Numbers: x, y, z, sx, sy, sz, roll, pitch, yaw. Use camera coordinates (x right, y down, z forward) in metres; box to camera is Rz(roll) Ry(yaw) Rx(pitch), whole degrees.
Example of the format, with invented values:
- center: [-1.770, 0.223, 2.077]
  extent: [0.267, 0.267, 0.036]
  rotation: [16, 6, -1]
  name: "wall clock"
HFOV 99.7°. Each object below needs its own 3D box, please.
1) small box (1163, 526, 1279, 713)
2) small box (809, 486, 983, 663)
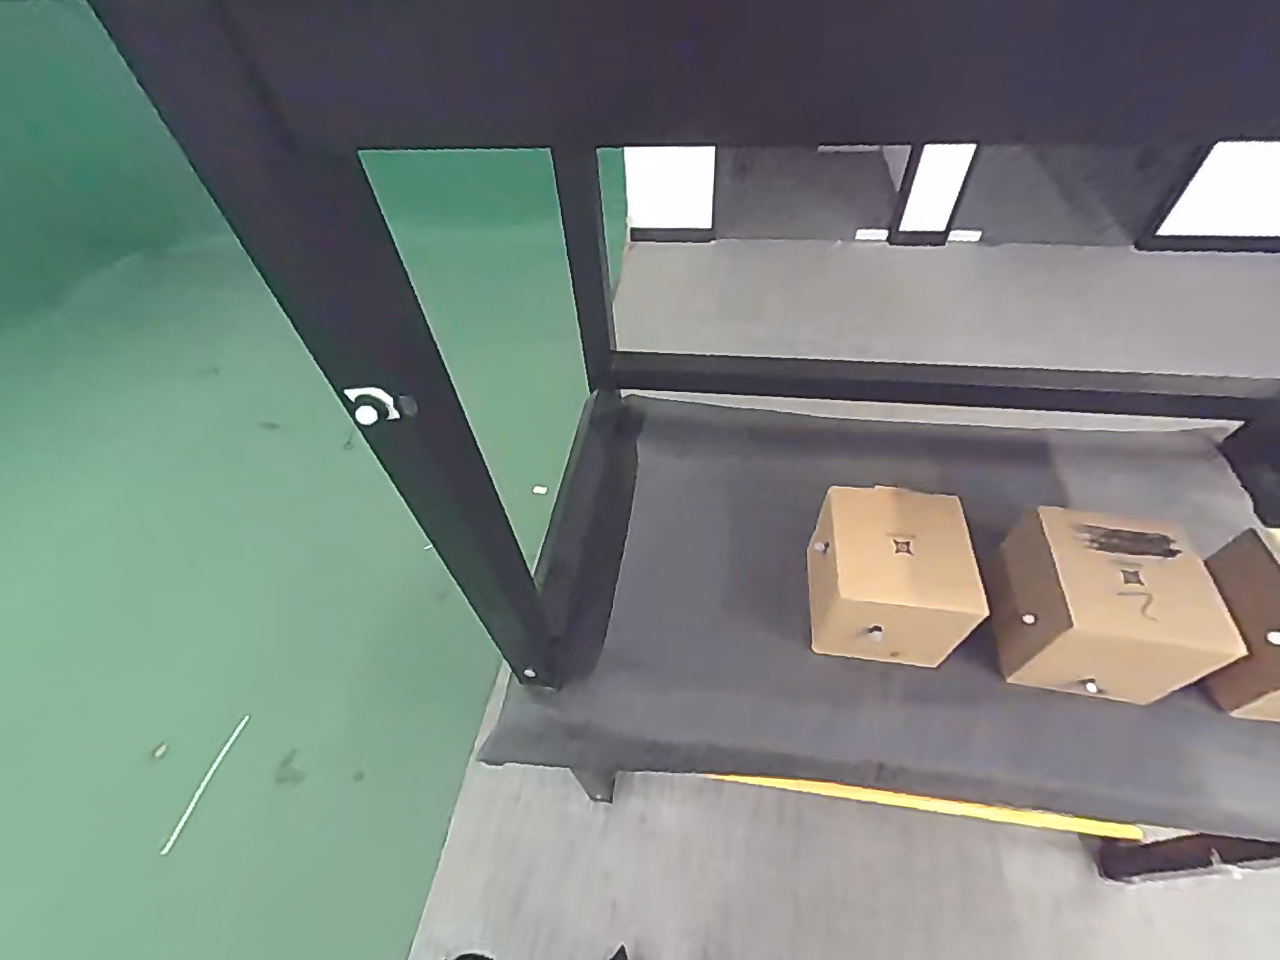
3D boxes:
- center: [0.815, 0.180, 0.659]
  extent: [0.168, 0.176, 0.179]
  rotation: [4, 49, 7]
  name: "small box"
- center: [0.331, 0.132, 0.741]
  extent: [0.168, 0.176, 0.179]
  rotation: [5, 50, 8]
  name: "small box"
